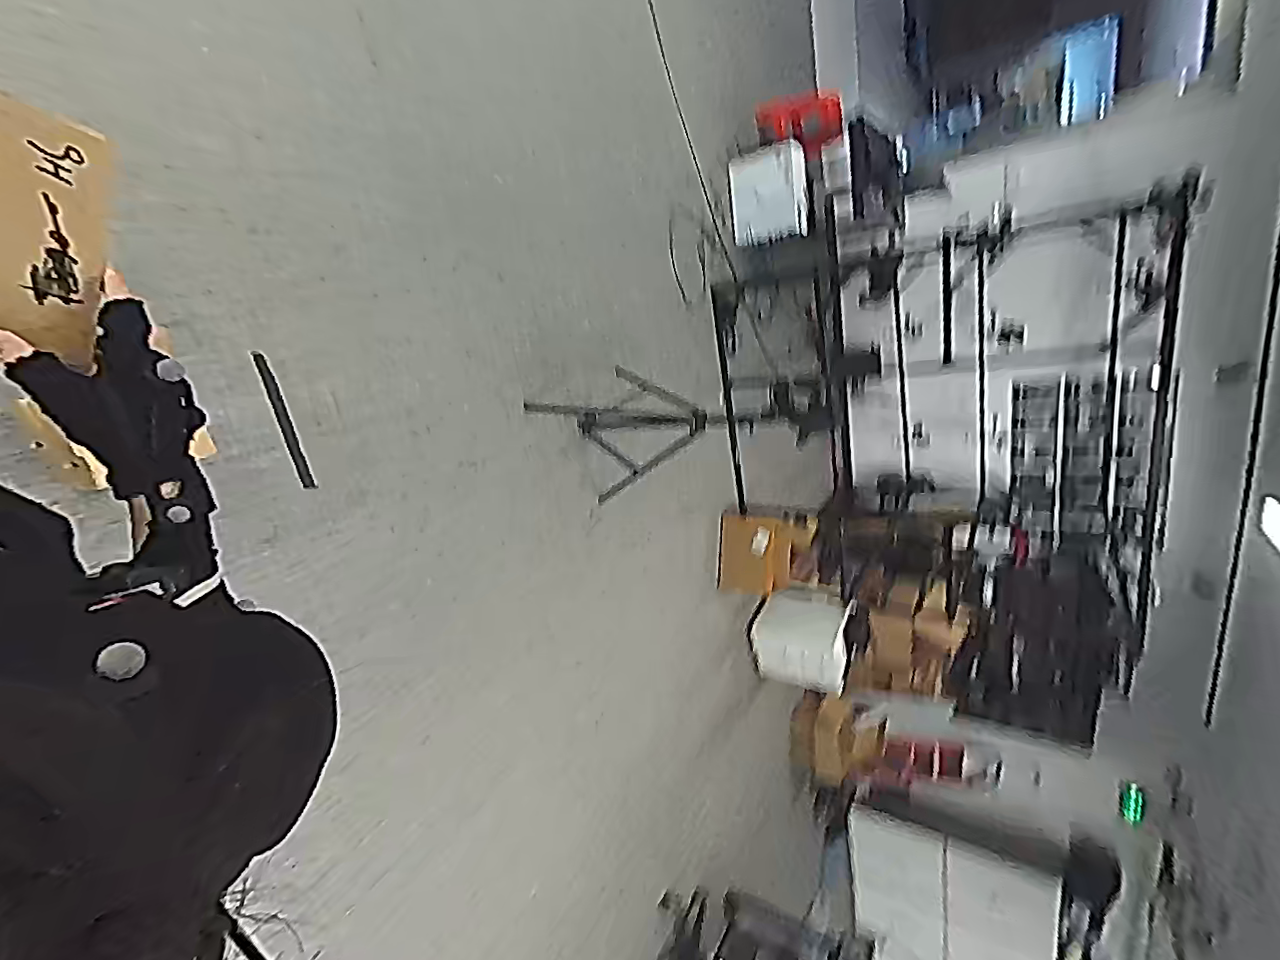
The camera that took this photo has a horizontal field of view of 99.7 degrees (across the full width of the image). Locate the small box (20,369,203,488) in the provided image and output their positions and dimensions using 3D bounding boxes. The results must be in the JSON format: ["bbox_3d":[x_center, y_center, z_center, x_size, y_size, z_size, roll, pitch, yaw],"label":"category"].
[{"bbox_3d":[-0.935,-0.093,0.957,0.179,0.176,0.168,-36,121,-50],"label":"small box"}]

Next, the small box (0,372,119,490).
[{"bbox_3d":[-1.076,-0.095,1.038,0.168,0.176,0.179,-40,122,-47],"label":"small box"}]
